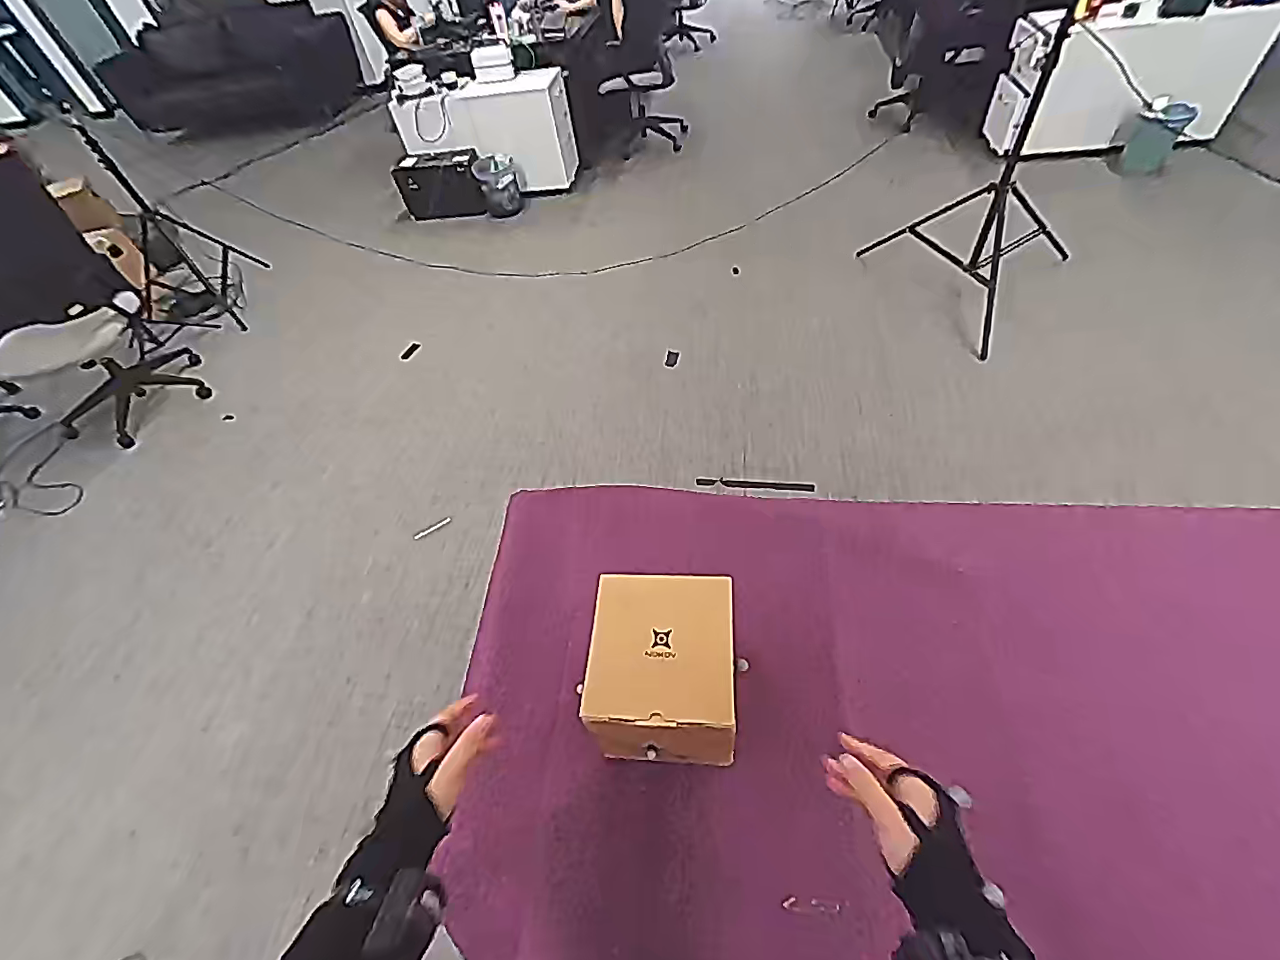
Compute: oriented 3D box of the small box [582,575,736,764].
[{"bbox_3d":[0.033,0.237,0.678,0.168,0.176,0.179,0,51,8],"label":"small box"}]
